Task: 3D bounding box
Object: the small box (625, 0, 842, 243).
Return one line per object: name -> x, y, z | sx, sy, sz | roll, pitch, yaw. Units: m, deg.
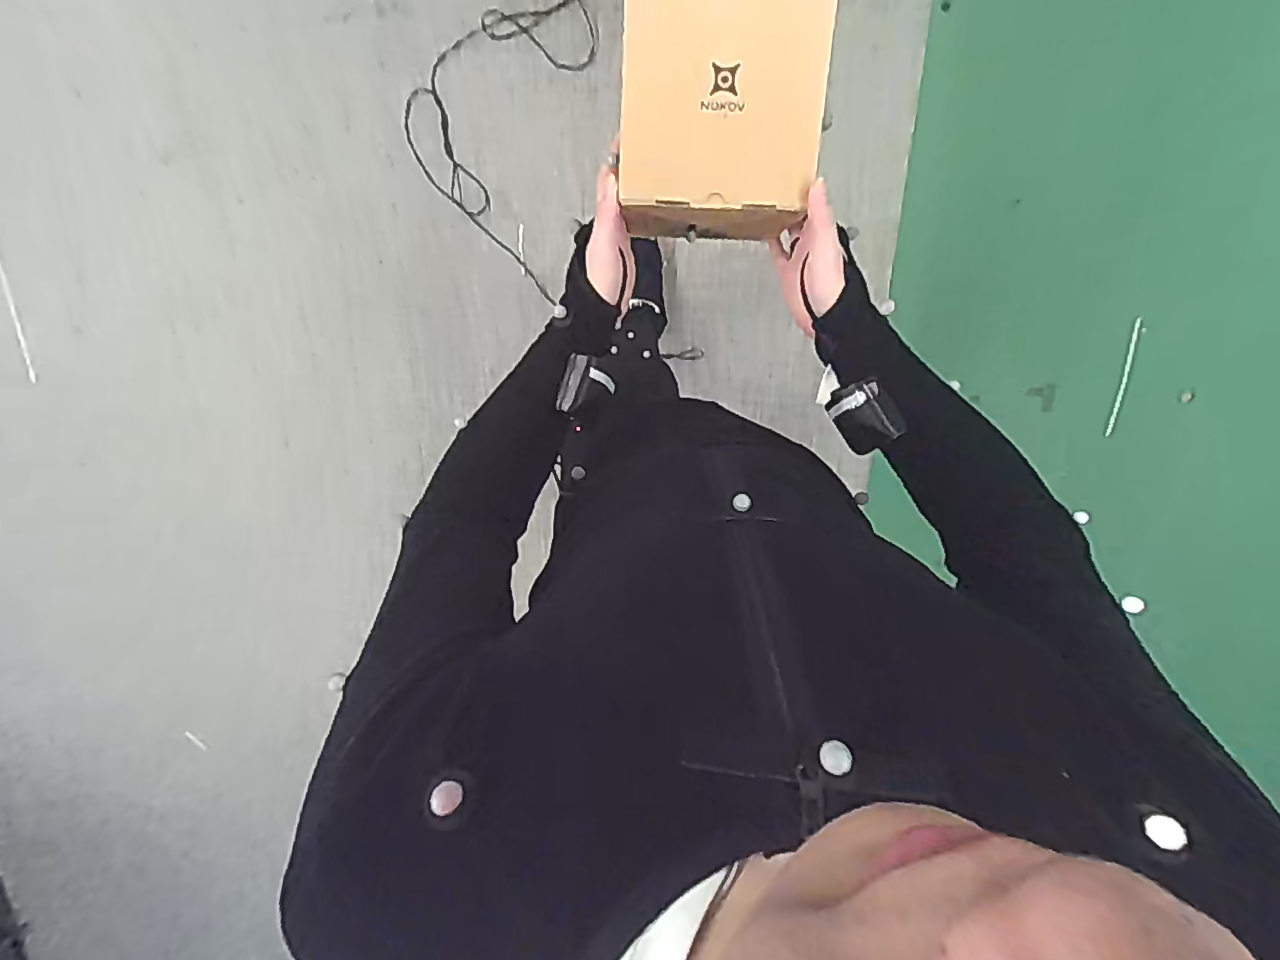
small box -> 0.071, -0.332, 0.512 | 0.168, 0.176, 0.179 | 2, 108, 0
